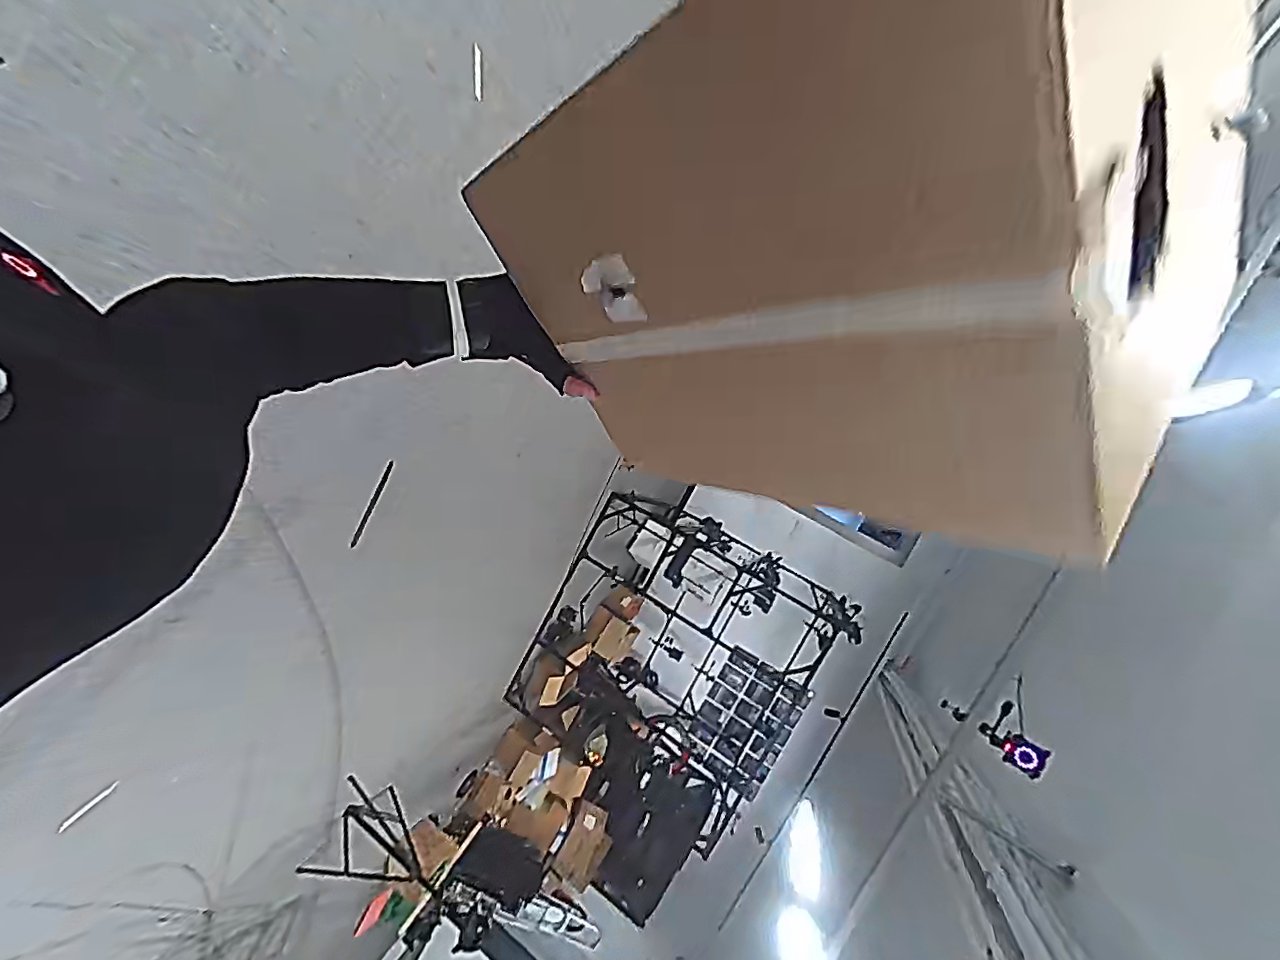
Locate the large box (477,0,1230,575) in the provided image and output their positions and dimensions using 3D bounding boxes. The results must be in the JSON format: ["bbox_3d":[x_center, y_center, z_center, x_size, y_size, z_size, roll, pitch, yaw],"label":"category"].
[{"bbox_3d":[0.141,-0.186,0.428,0.320,0.408,0.320,-42,120,-22],"label":"large box"}]
